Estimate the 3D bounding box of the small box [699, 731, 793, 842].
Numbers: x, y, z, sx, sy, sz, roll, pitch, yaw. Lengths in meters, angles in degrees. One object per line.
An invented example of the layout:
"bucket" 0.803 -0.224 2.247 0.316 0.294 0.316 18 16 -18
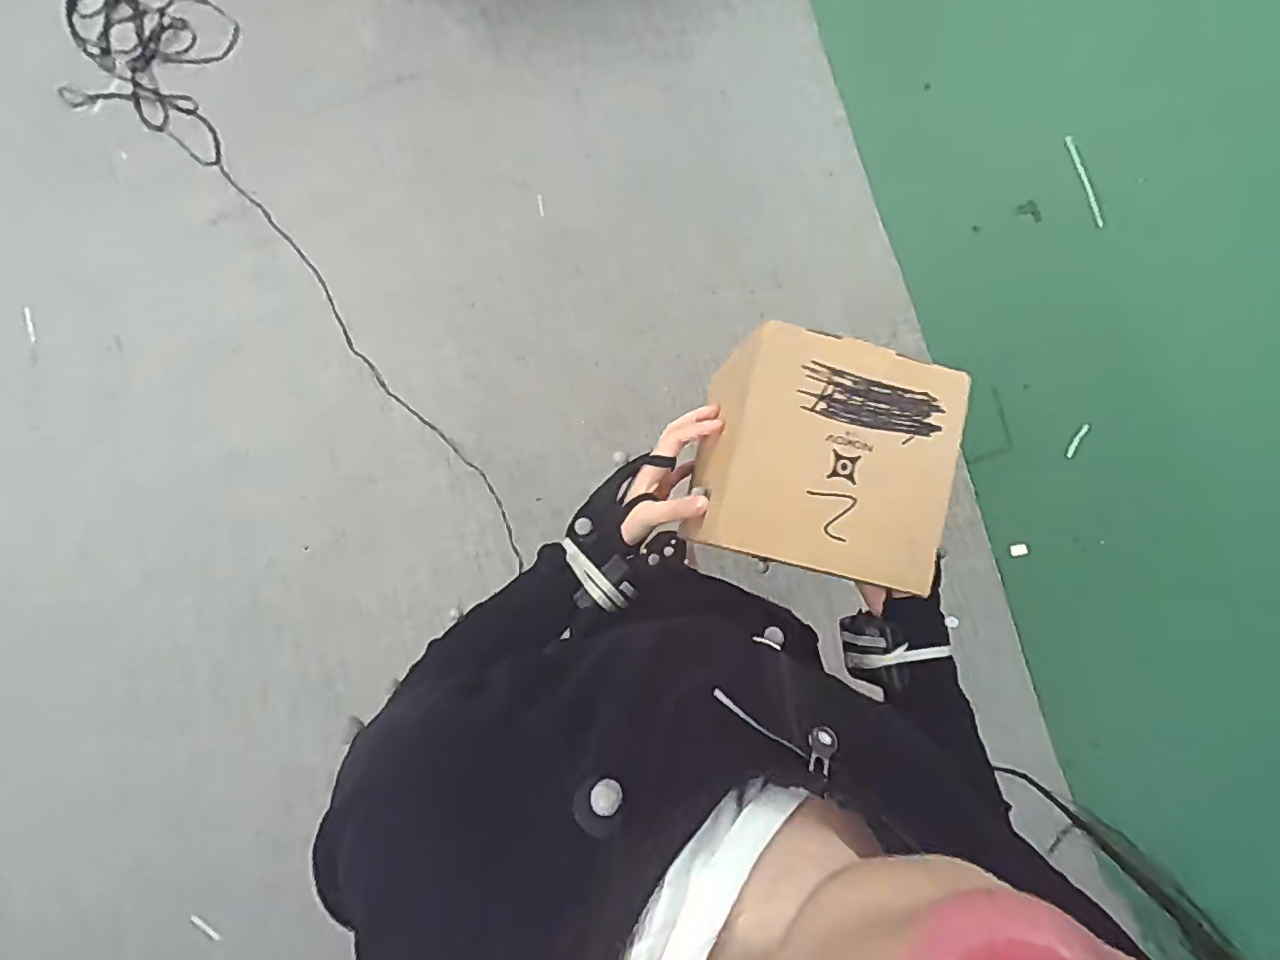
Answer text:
"small box" 0.258 0.757 1.364 0.168 0.176 0.179 -20 83 -3
